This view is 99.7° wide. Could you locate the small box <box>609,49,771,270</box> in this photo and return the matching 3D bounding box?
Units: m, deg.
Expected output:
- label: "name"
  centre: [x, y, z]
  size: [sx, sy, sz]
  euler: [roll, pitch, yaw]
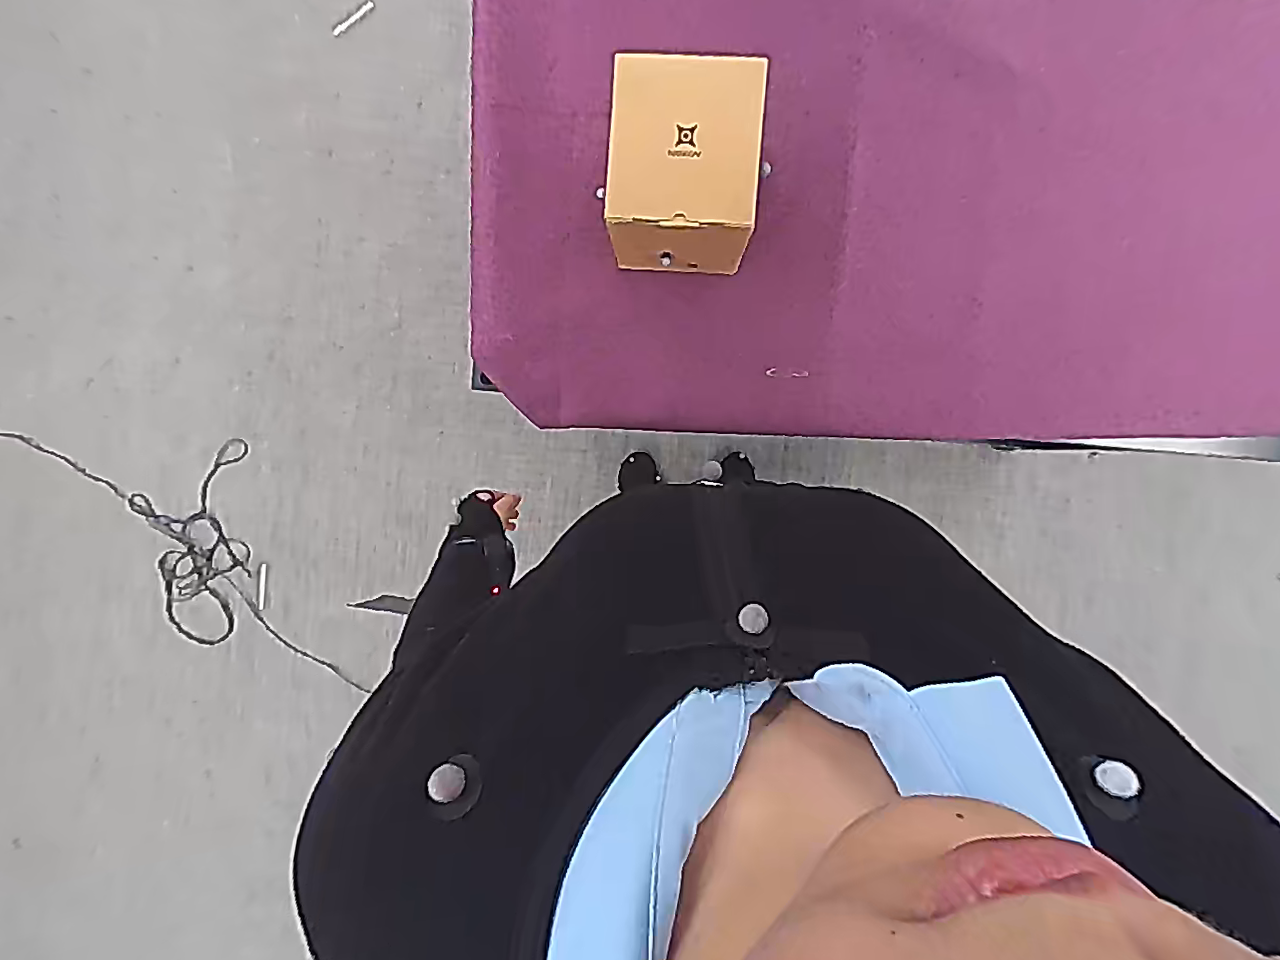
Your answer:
- label: "small box"
  centre: [0.055, -0.375, 0.661]
  size: [0.168, 0.176, 0.179]
  euler: [4, 95, 3]
